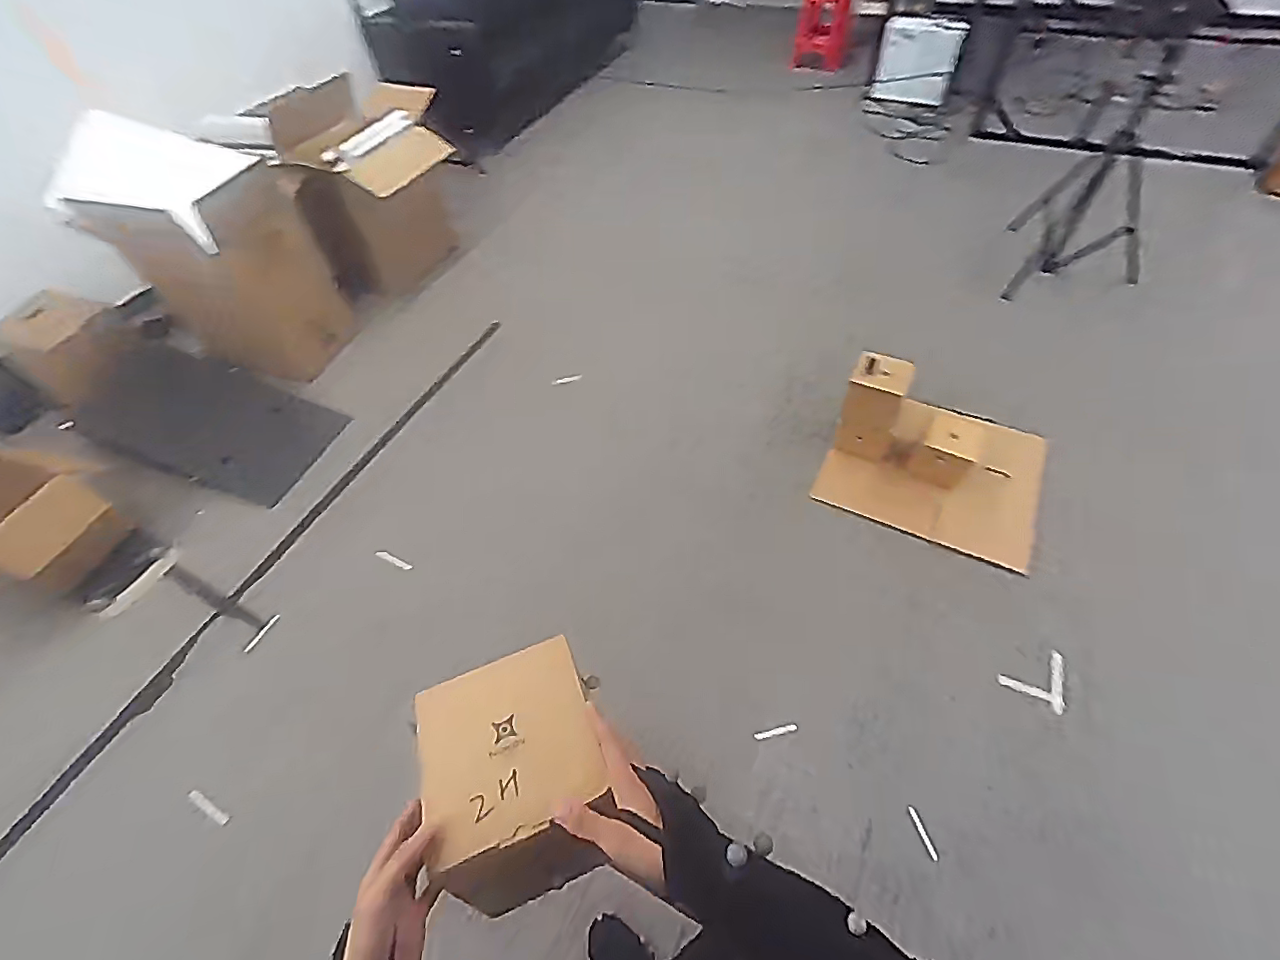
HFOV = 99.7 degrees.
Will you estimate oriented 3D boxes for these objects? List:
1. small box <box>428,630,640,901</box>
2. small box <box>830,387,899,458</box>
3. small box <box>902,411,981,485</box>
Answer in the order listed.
[{"bbox_3d":[-0.110,0.300,0.574,0.168,0.176,0.179,-19,43,-9],"label":"small box"},{"bbox_3d":[0.815,-0.205,1.970,0.179,0.176,0.168,21,58,20],"label":"small box"},{"bbox_3d":[1.044,-0.106,1.880,0.179,0.176,0.168,23,59,20],"label":"small box"}]
